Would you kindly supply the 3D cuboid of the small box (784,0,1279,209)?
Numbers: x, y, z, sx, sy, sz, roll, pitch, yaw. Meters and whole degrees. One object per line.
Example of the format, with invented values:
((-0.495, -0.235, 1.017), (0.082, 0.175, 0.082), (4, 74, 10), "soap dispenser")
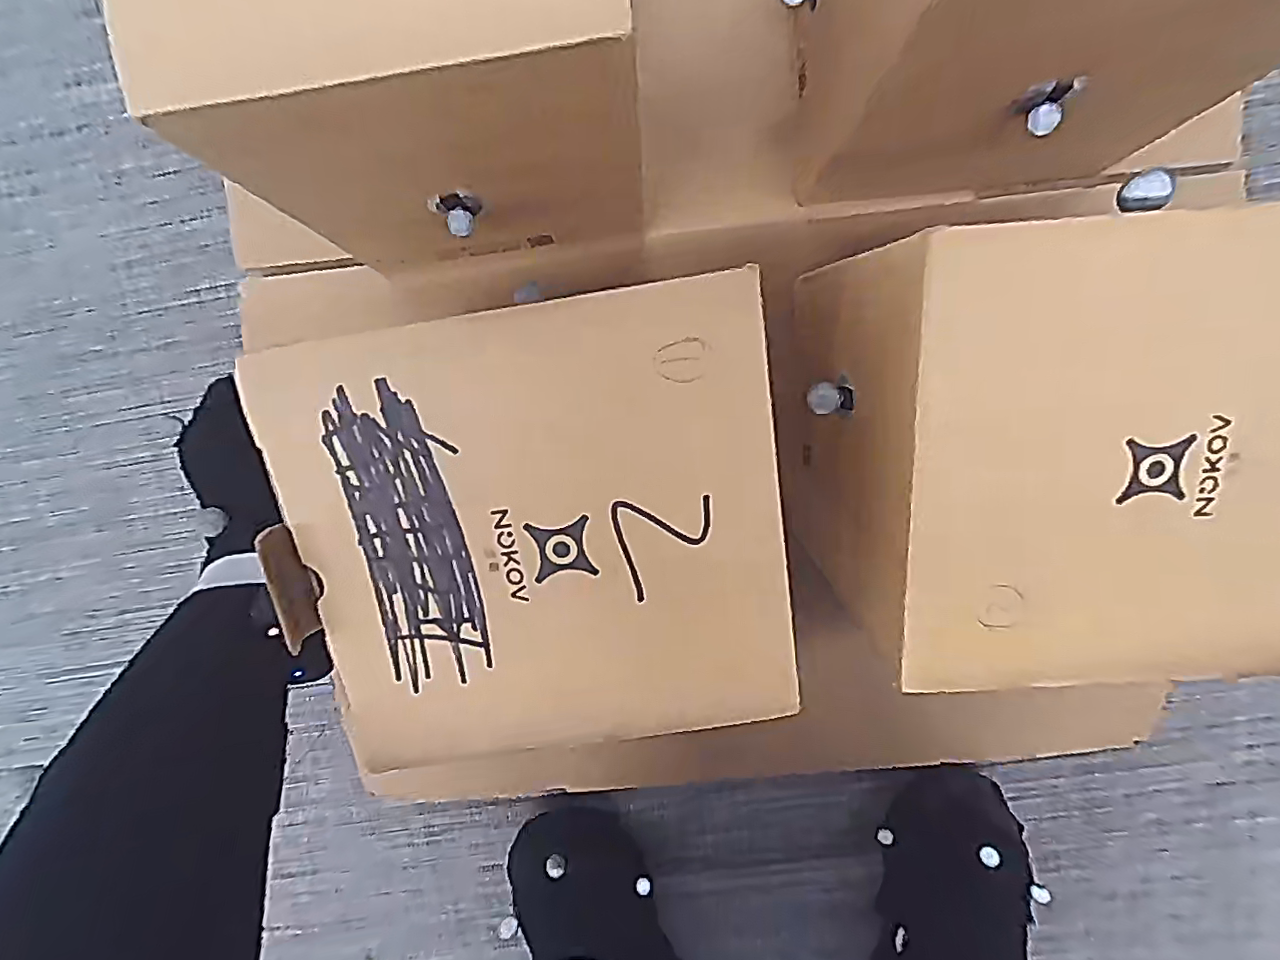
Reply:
((0.170, -0.239, 0.234), (0.179, 0.176, 0.168), (-4, 94, 3), "small box")

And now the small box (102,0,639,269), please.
((-0.092, -0.210, 0.248), (0.168, 0.176, 0.179), (-7, 93, 2), "small box")
